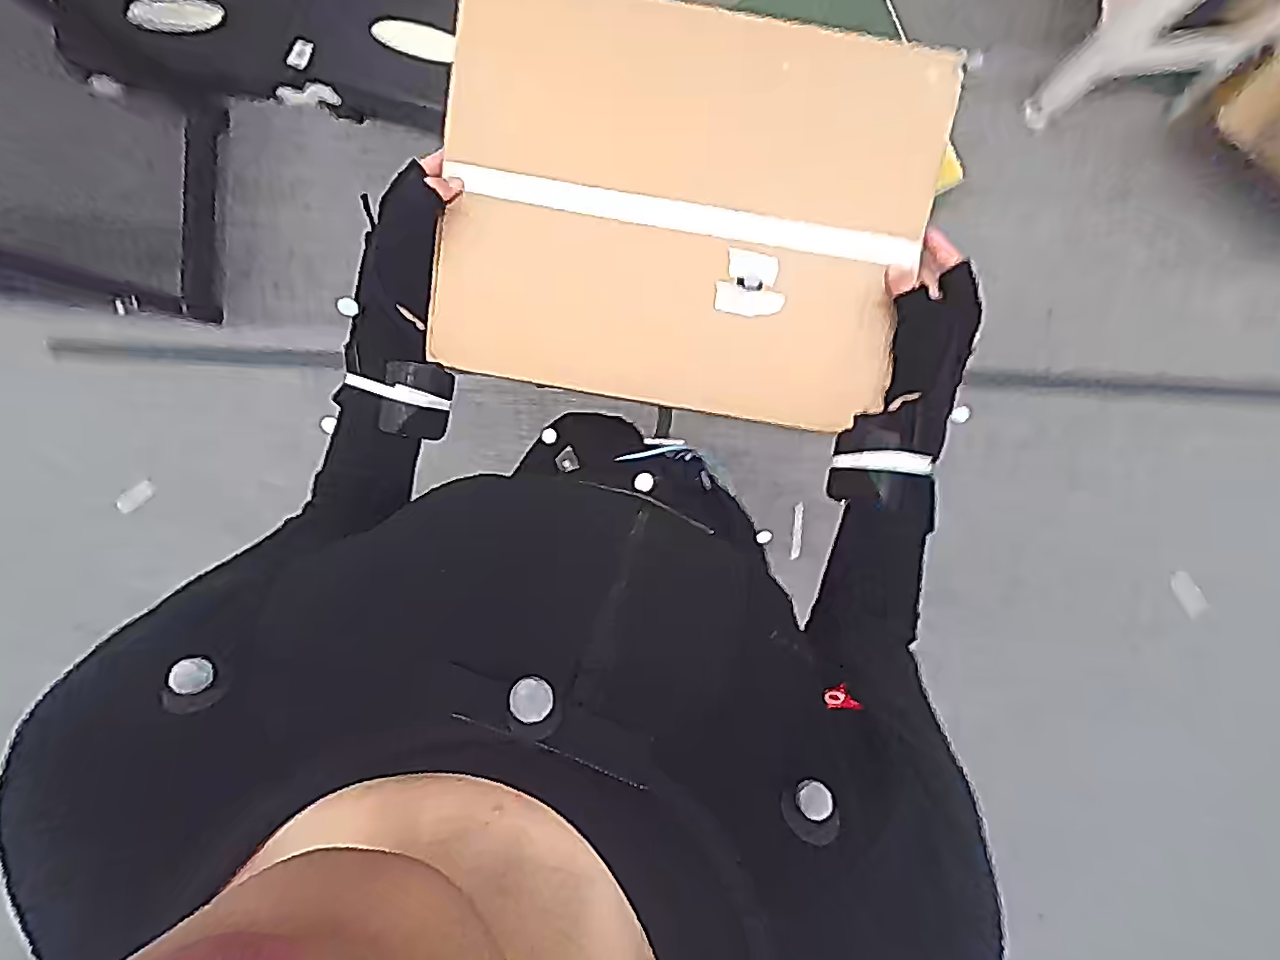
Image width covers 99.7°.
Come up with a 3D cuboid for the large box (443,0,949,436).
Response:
[{"bbox_3d":[0.039,-0.243,0.616,0.408,0.320,0.320,10,100,-1],"label":"large box"}]
